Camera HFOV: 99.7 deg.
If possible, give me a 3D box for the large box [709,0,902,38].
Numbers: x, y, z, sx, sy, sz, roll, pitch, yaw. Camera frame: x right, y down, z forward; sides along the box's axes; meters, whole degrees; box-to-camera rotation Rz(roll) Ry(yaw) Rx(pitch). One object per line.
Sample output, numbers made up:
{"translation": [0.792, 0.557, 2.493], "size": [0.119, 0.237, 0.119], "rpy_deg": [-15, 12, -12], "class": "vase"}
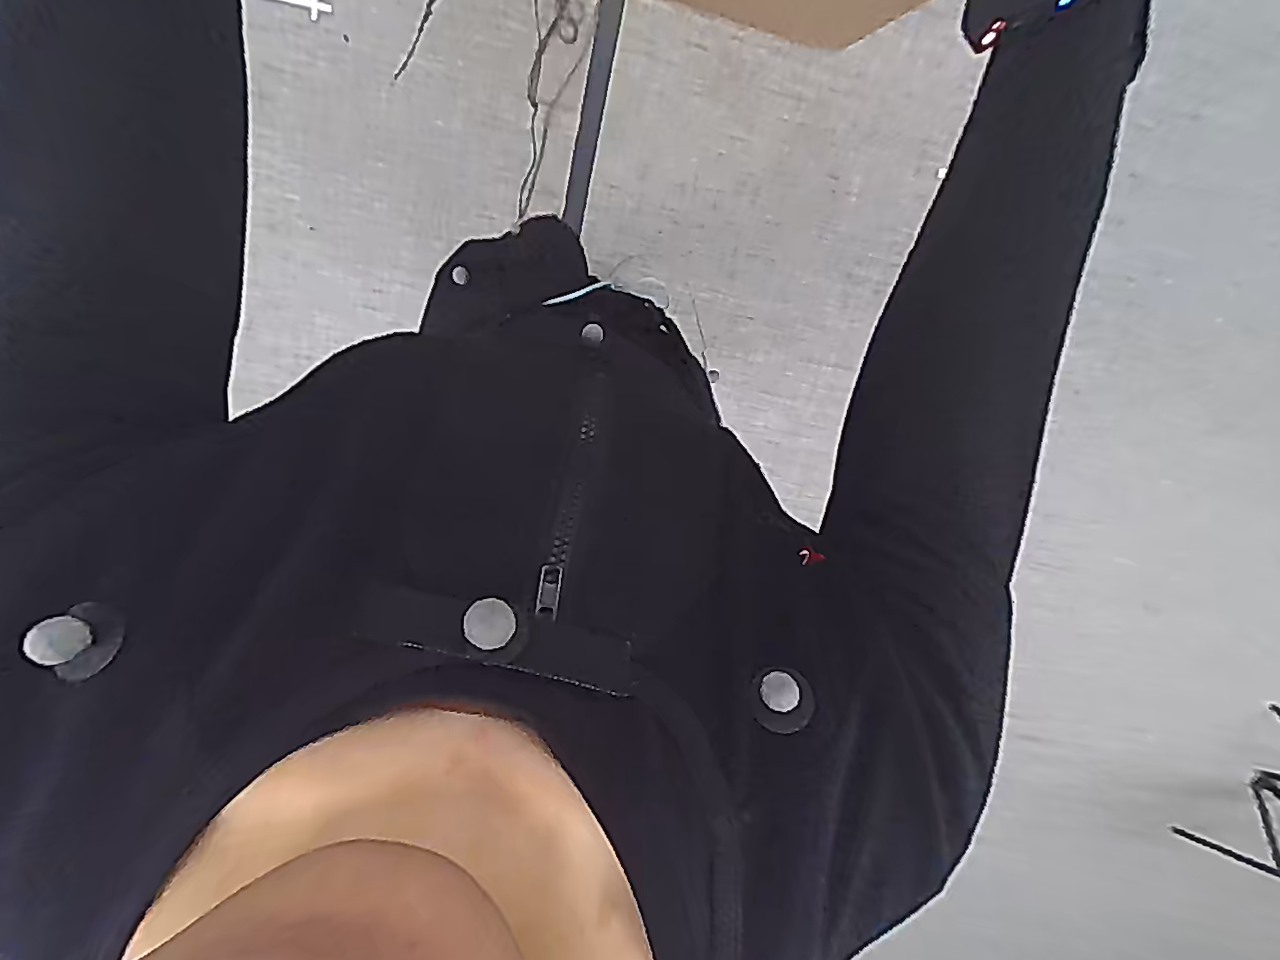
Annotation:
{"translation": [0.060, -0.558, 0.351], "size": [0.408, 0.320, 0.320], "rpy_deg": [11, 120, -8], "class": "large box"}
